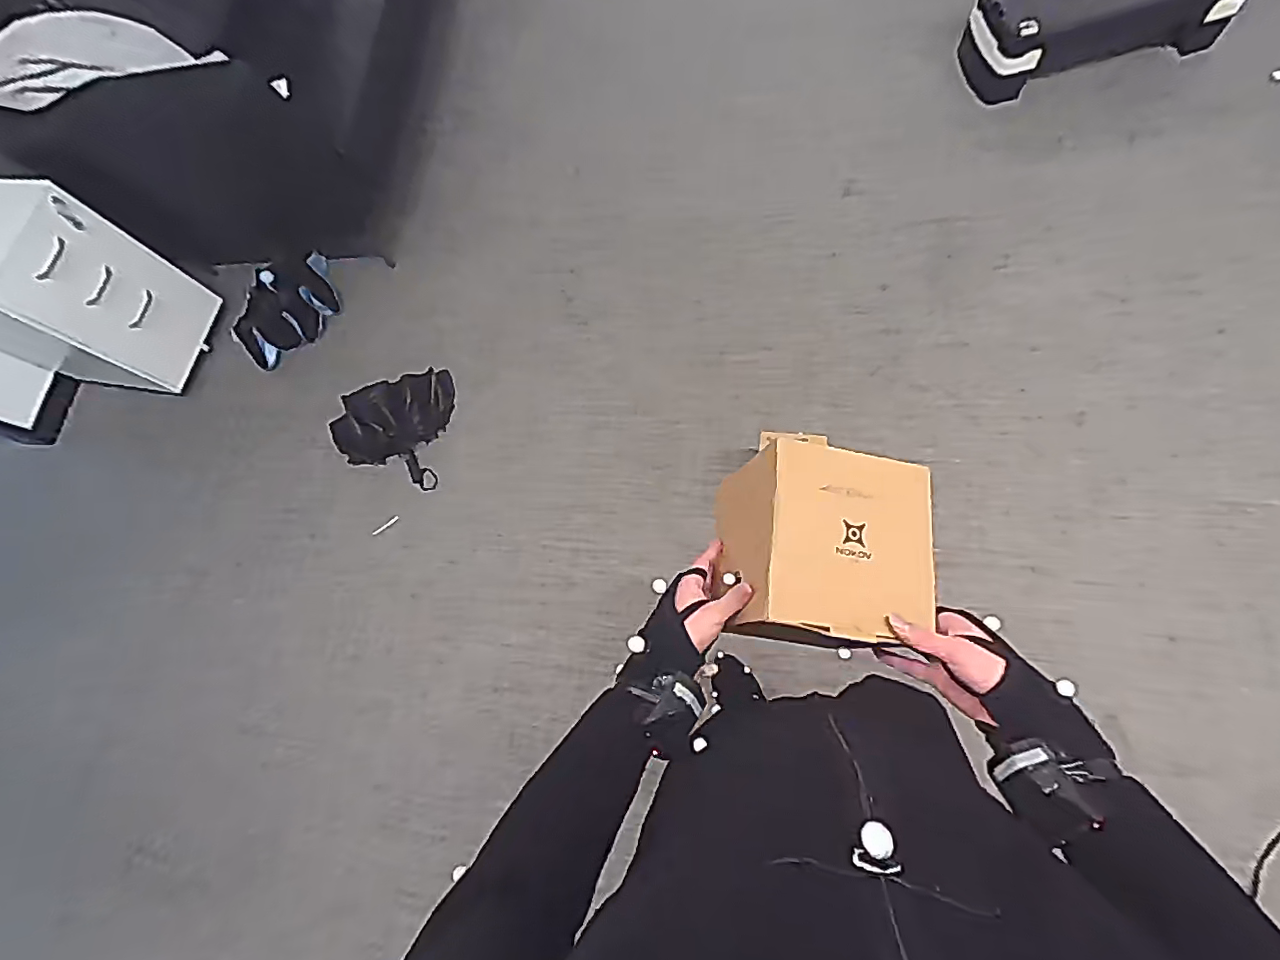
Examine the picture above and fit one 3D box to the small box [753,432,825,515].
[{"bbox_3d":[0.390,-0.011,1.426,0.168,0.176,0.179,5,74,13],"label":"small box"}]
